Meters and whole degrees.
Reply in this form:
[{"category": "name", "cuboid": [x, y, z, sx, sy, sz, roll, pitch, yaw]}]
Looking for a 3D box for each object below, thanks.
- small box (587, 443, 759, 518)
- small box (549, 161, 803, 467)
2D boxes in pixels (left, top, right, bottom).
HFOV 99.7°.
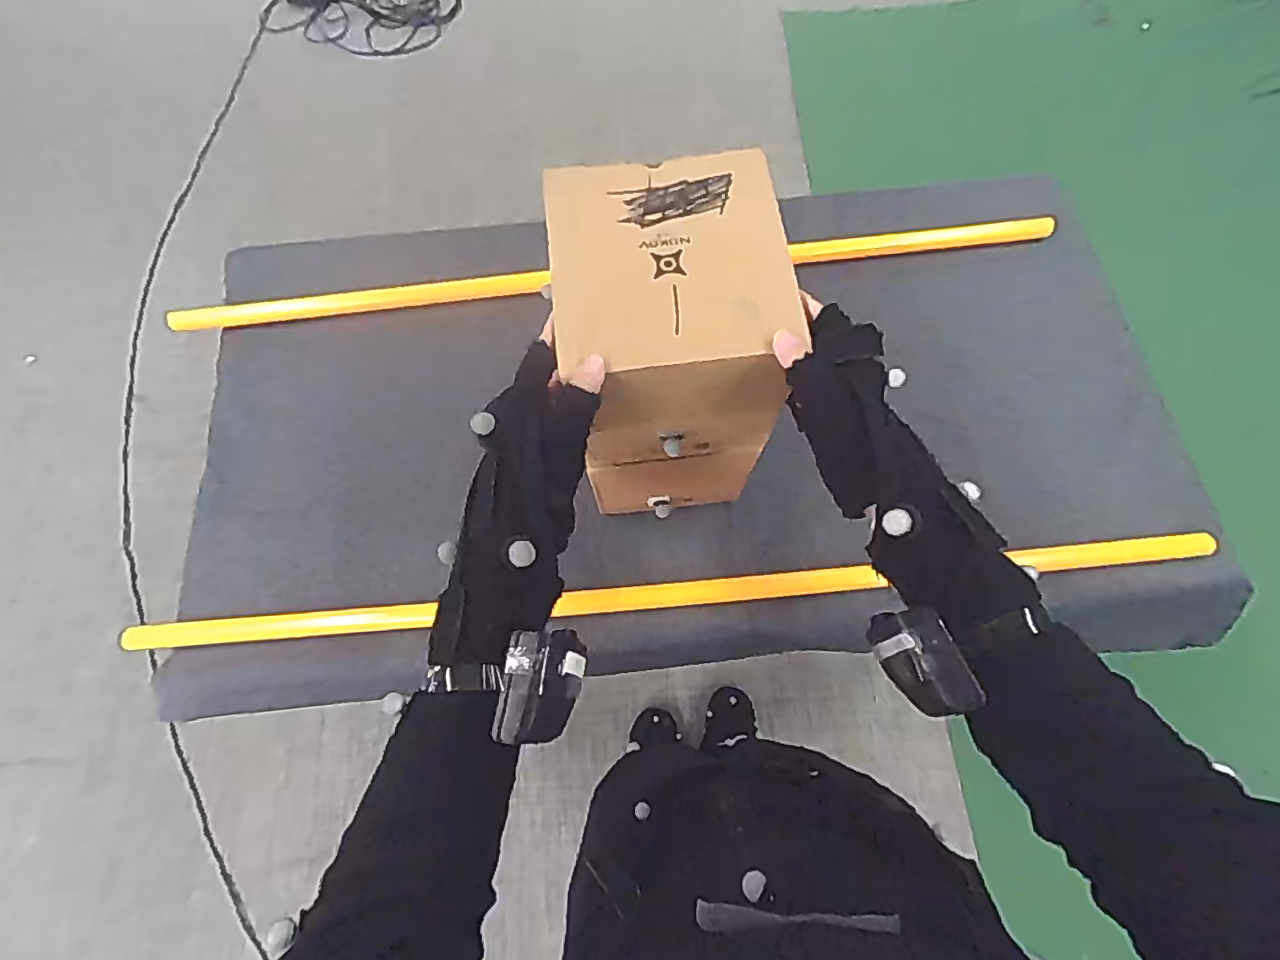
[{"category": "small box", "cuboid": [0.024, -0.069, 0.611, 0.168, 0.176, 0.179, -8, 72, 0]}, {"category": "small box", "cuboid": [0.021, -0.126, 0.457, 0.168, 0.176, 0.179, -7, 71, 0]}]
